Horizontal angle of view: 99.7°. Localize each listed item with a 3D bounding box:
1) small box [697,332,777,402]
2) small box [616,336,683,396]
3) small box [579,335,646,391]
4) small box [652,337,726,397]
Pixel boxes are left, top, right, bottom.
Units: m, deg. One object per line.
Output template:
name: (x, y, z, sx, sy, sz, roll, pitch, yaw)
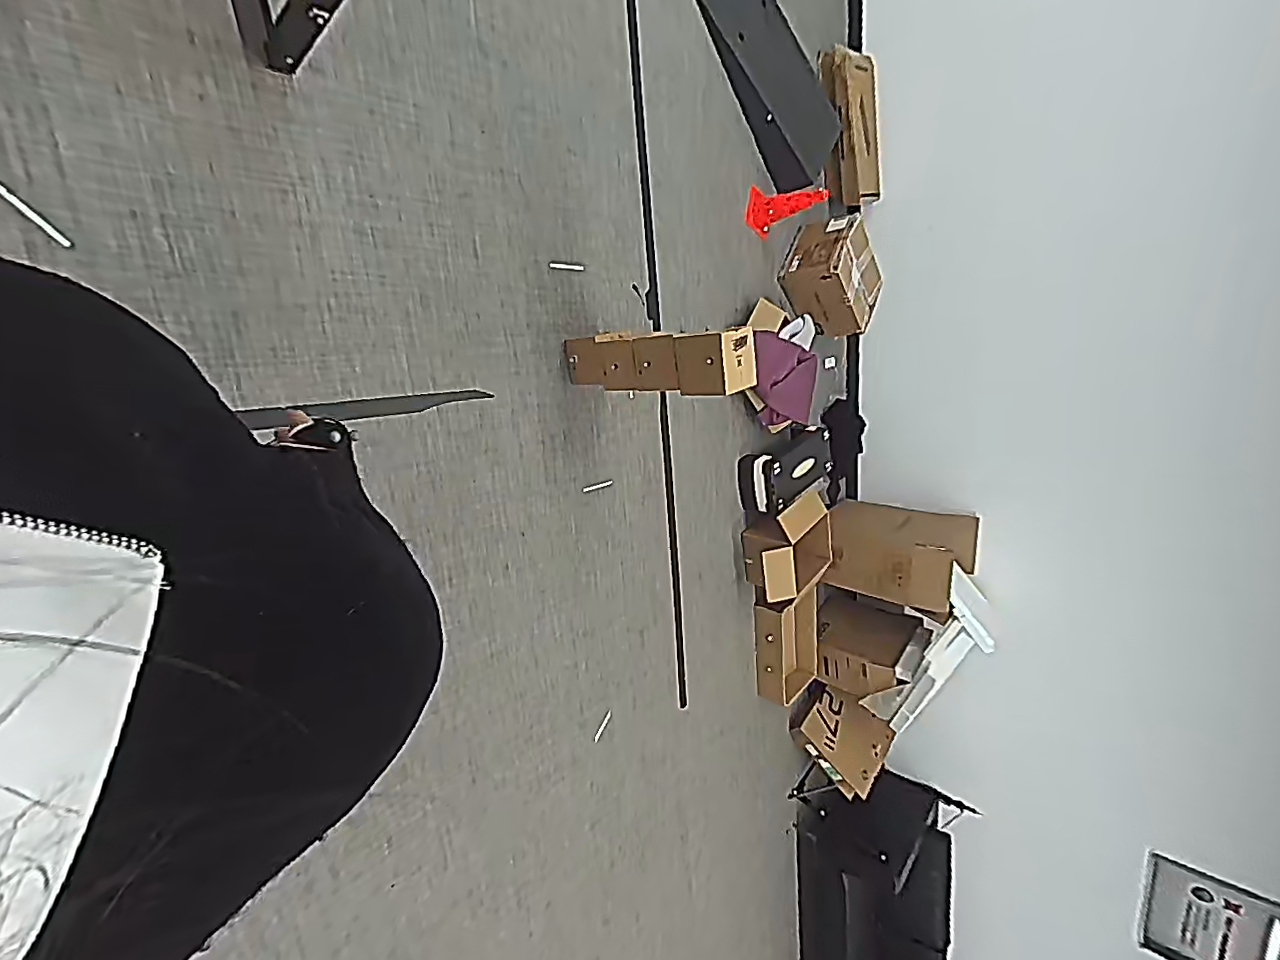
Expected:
small box: (0.282, -0.327, 1.575, 0.168, 0.176, 0.179, -26, 115, -43)
small box: (0.035, -0.376, 1.789, 0.179, 0.176, 0.168, -27, 115, -42)
small box: (-0.086, -0.411, 1.896, 0.179, 0.176, 0.168, -25, 113, -41)
small box: (0.160, -0.352, 1.683, 0.179, 0.176, 0.168, -21, 110, -44)
